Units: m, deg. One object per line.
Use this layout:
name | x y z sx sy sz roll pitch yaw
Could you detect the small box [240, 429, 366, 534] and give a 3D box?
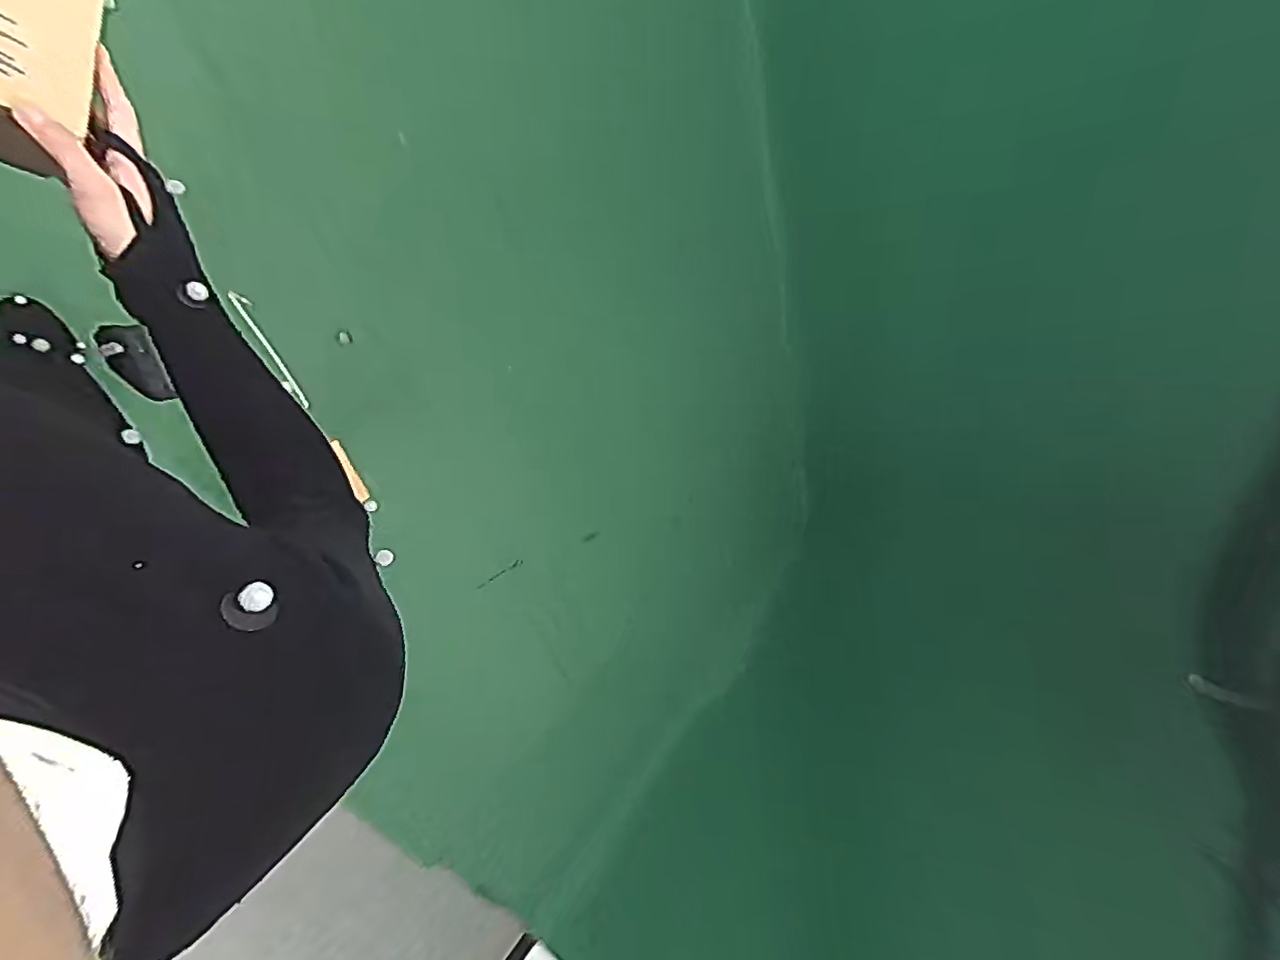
small box | -0.800 -0.005 1.284 0.179 0.176 0.168 -37 129 -33
